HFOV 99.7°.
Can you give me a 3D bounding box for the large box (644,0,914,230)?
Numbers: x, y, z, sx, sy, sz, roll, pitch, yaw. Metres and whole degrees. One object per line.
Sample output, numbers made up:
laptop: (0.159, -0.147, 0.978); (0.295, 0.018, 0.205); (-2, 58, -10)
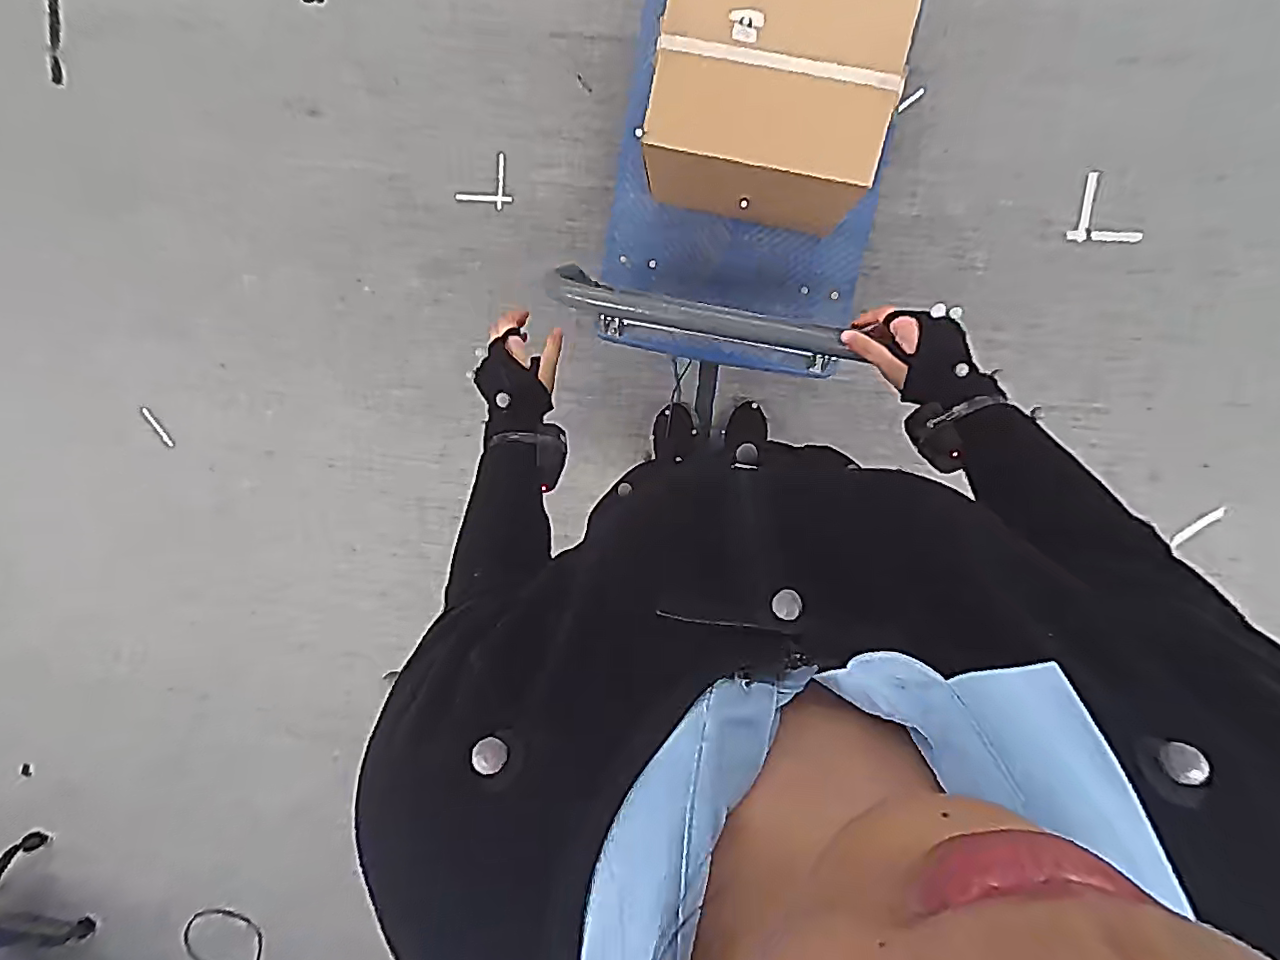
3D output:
large box: (0.245, -0.719, 1.059); (0.408, 0.320, 0.320); (13, 99, 4)
